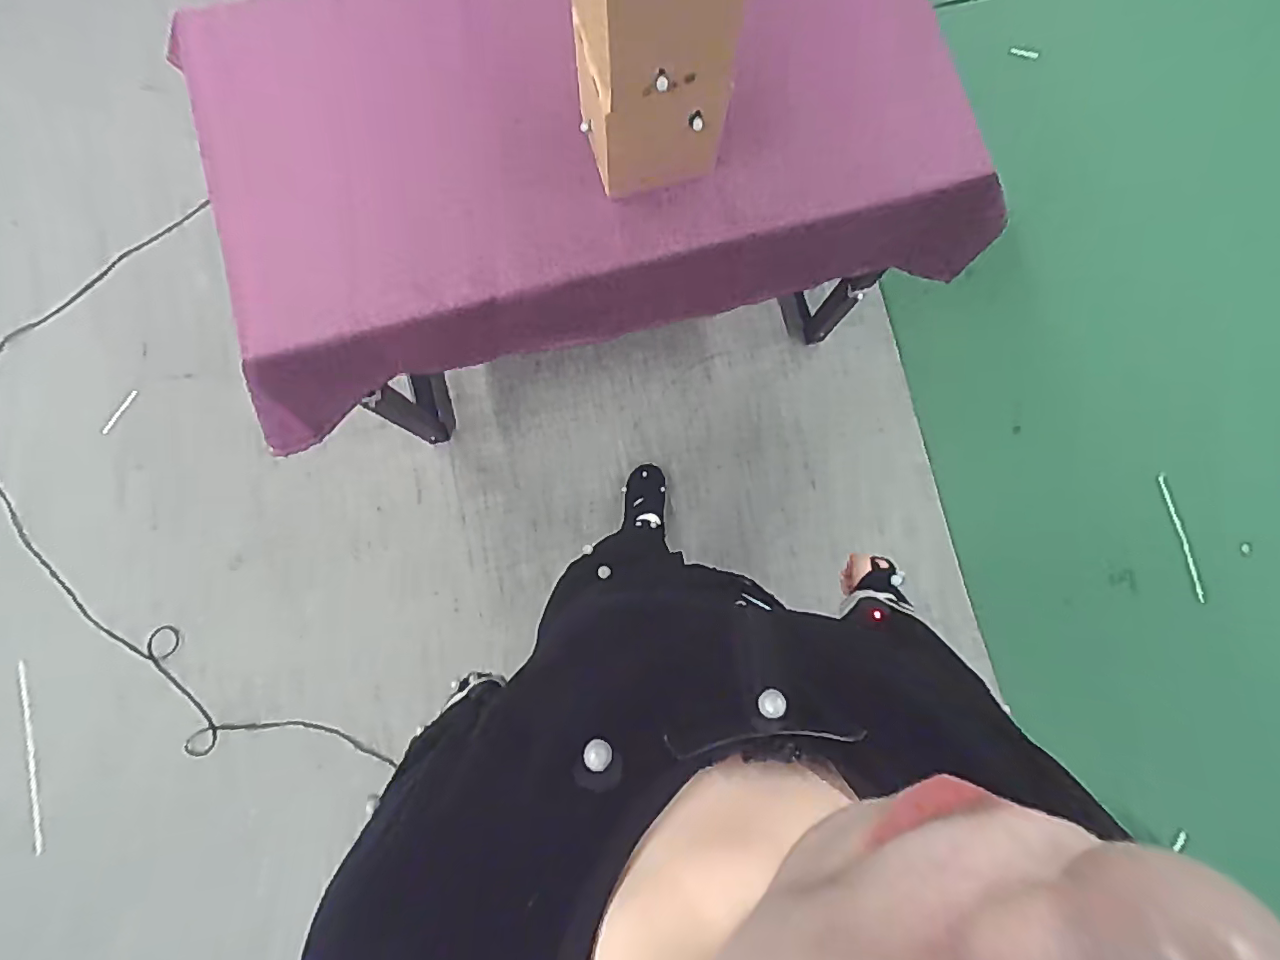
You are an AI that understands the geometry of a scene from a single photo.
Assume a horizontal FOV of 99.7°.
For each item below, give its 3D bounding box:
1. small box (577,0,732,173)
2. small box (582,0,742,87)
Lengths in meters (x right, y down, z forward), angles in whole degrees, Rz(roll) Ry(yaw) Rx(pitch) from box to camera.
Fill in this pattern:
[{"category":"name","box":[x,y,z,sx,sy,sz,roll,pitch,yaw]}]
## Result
[{"category":"small box","box":[0.014,-0.584,0.780,0.179,0.176,0.168,-15,83,-3]},{"category":"small box","box":[0.016,-0.608,0.618,0.168,0.176,0.179,-17,84,-3]}]
